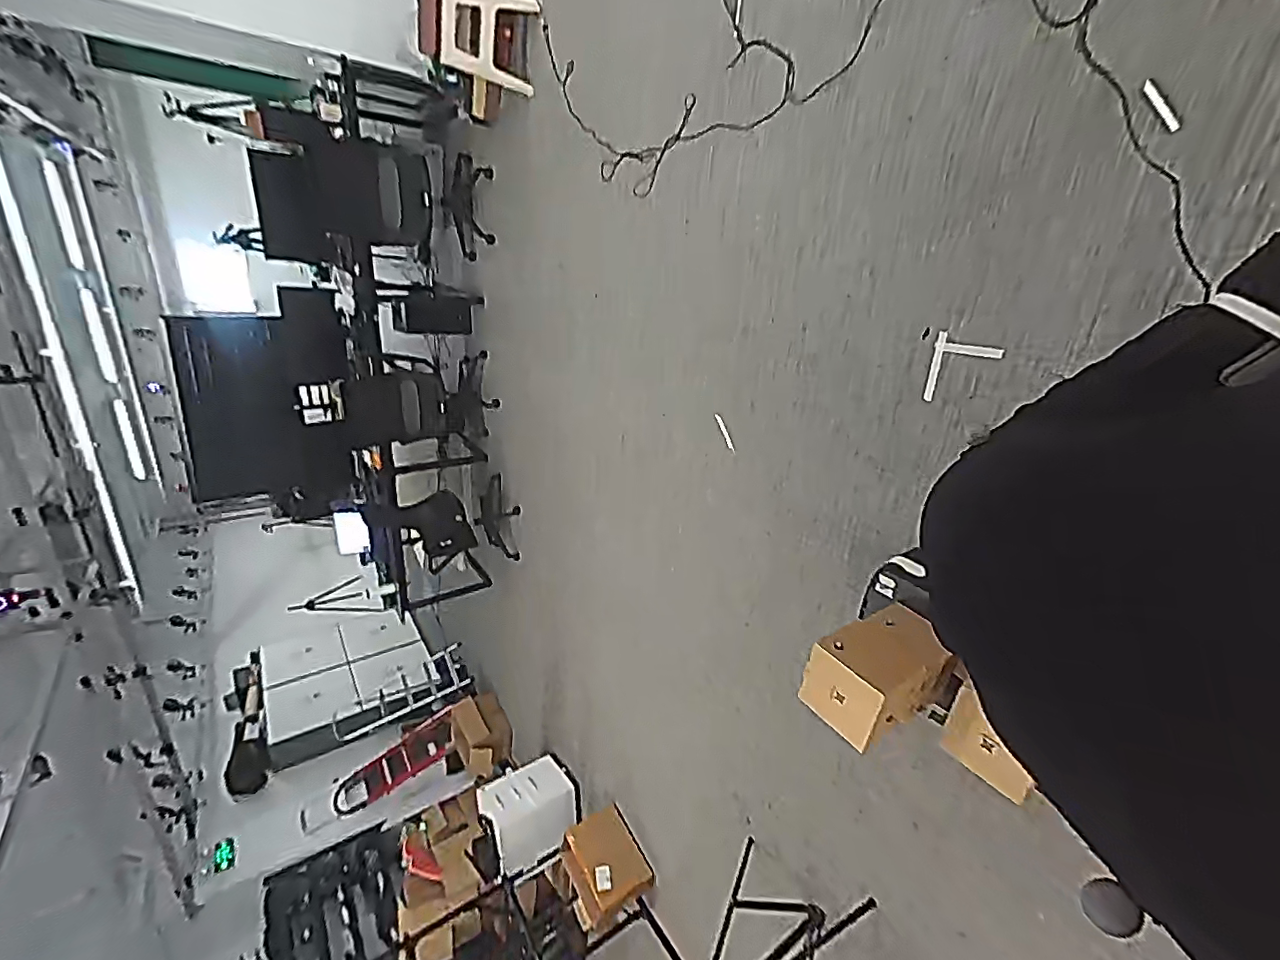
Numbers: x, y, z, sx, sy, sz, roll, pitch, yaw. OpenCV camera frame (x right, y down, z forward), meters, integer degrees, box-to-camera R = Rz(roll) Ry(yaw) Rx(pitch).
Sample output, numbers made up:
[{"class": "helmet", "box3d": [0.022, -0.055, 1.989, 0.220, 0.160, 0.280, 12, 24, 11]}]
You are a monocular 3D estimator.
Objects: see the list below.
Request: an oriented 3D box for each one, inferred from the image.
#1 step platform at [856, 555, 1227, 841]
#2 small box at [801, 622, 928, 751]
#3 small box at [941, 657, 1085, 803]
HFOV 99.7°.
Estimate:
[{"class": "step platform", "box3d": [0.847, 0.455, 1.262, 0.684, 0.204, 0.286, 31, 125, 47]}, {"class": "small box", "box3d": [0.488, 0.437, 1.178, 0.179, 0.176, 0.168, 36, 127, 46]}, {"class": "small box", "box3d": [0.756, 0.498, 1.097, 0.168, 0.176, 0.179, 33, 126, 46]}]
